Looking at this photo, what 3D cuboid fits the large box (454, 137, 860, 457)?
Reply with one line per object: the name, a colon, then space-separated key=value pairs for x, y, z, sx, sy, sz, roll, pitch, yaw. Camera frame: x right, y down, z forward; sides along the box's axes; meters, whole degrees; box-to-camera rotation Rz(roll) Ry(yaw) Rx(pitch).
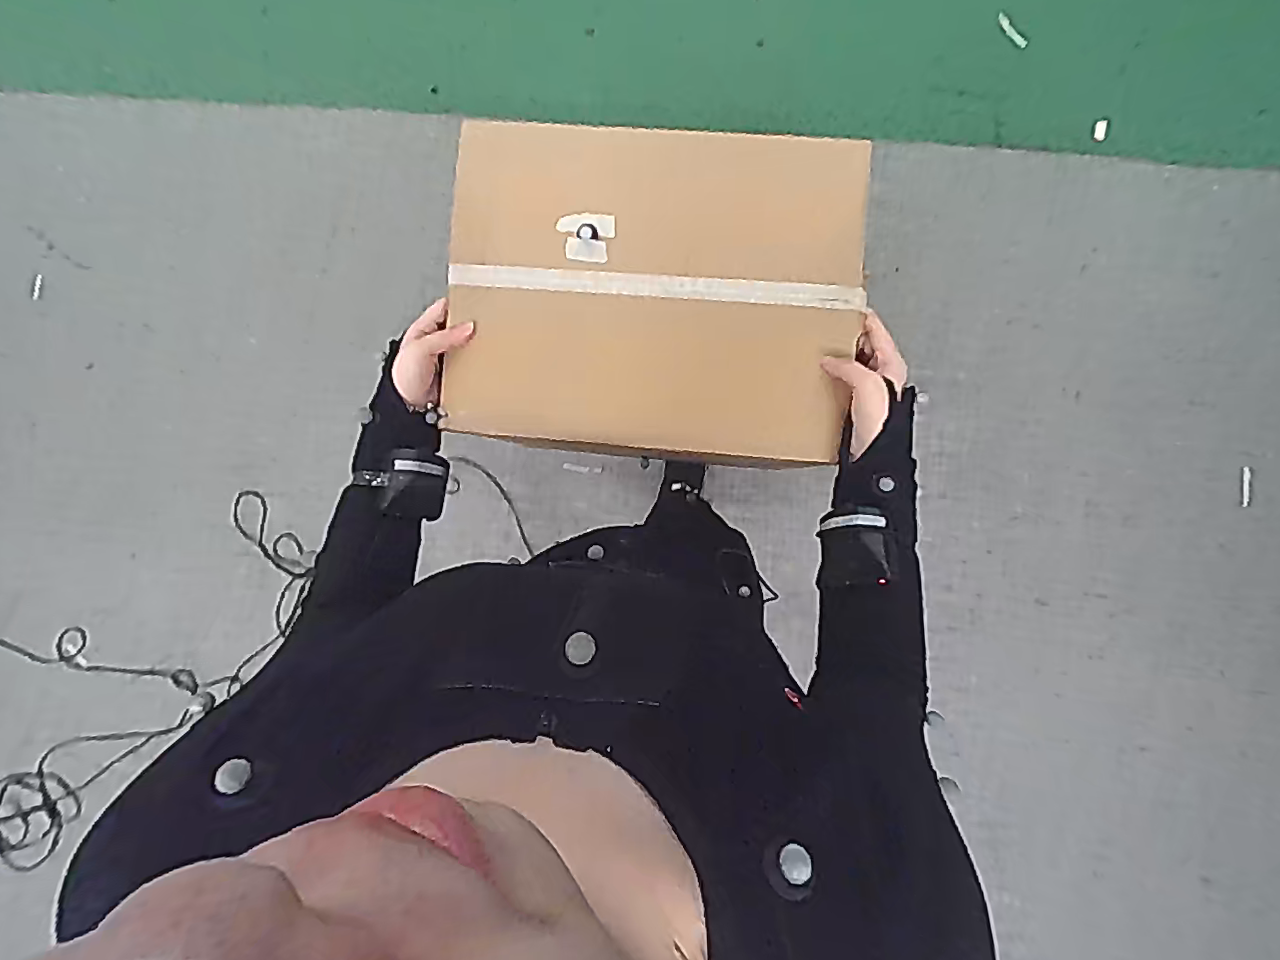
large box: x=0.025 y=-0.194 z=0.694 sx=0.408 sy=0.320 sz=0.320 roll=4 pitch=90 yaw=5
